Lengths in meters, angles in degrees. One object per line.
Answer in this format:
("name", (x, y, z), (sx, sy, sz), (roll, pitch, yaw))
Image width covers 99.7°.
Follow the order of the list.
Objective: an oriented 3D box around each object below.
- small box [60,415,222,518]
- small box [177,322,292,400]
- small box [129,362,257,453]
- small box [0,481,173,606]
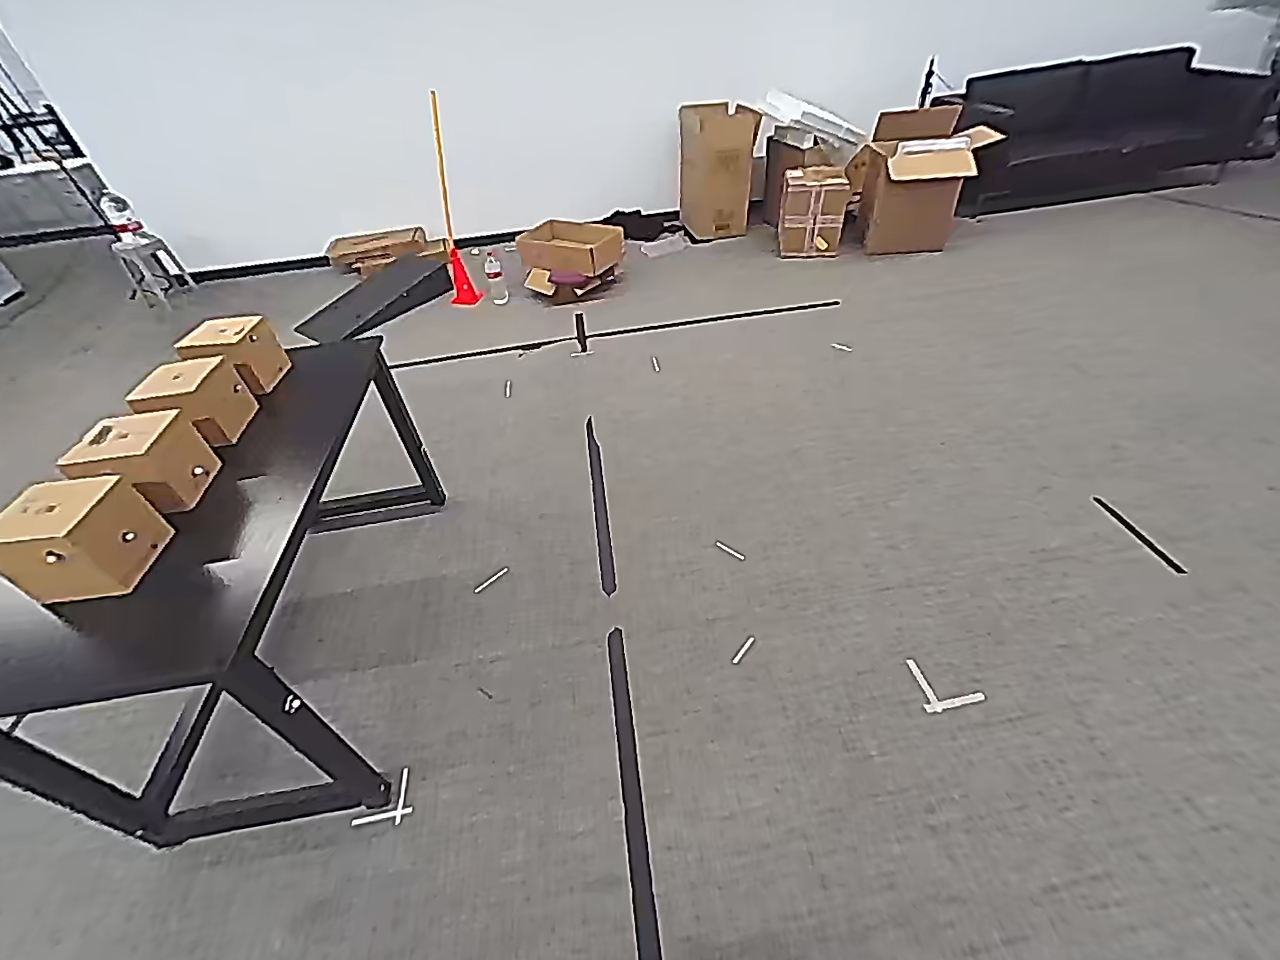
("small box", (-1.106, -0.023, 1.219), (0.179, 0.176, 0.168), (-9, 41, -5))
("small box", (-1.176, -0.342, 1.584), (0.179, 0.176, 0.168), (-6, 42, 2))
("small box", (-1.143, -0.183, 1.406), (0.168, 0.176, 0.179), (-10, 43, -2))
("small box", (-1.080, 0.125, 1.052), (0.179, 0.176, 0.168), (-7, 41, -1))
